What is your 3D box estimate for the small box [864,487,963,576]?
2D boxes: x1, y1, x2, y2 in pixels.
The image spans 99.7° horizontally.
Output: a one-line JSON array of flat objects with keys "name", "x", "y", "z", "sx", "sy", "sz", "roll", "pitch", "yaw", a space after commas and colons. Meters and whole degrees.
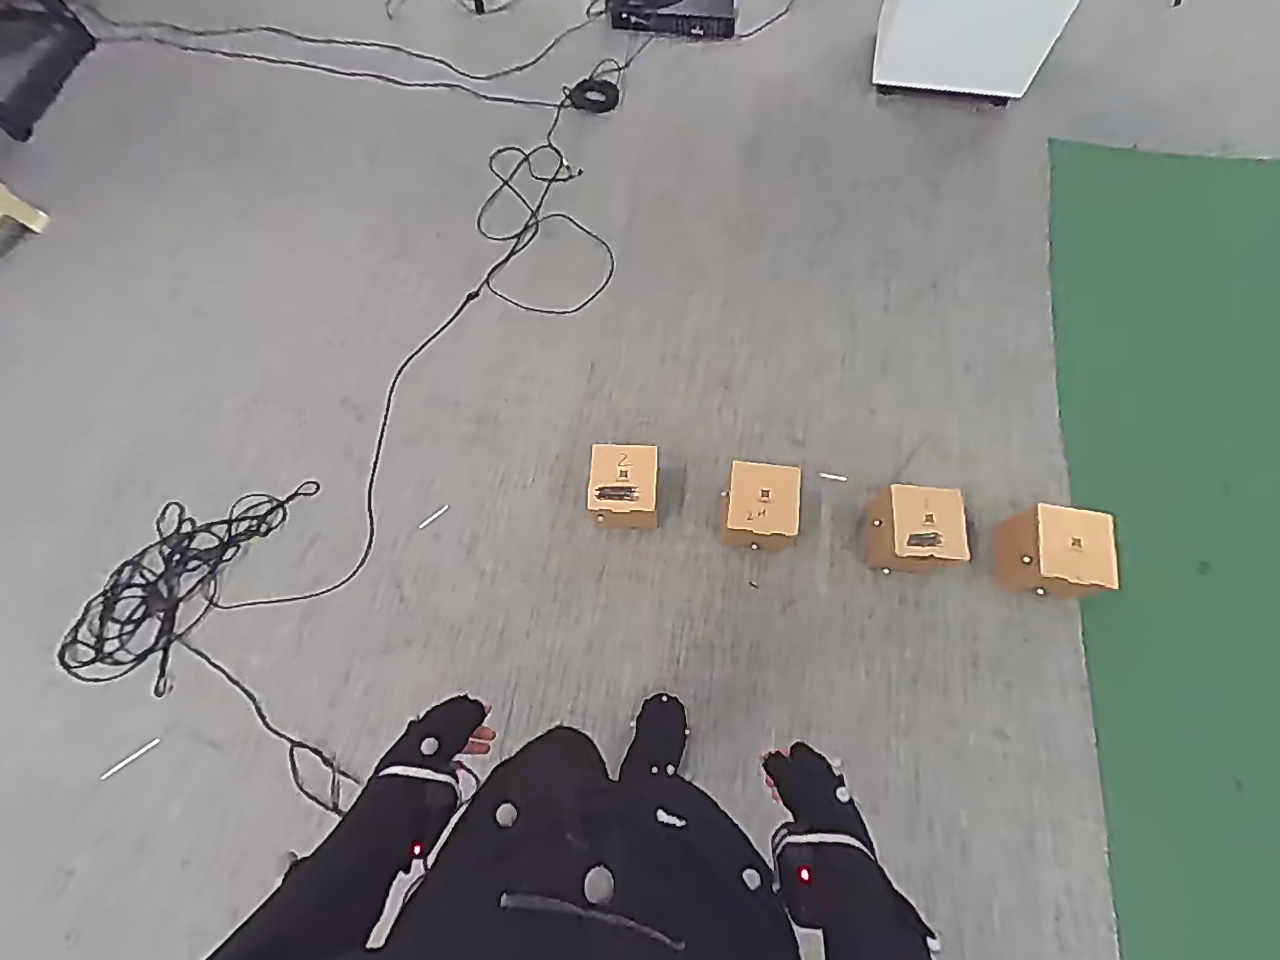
[{"name": "small box", "x": 0.667, "y": 0.133, "z": 1.339, "sx": 0.168, "sy": 0.176, "sz": 0.179, "roll": 5, "pitch": 69, "yaw": 3}]

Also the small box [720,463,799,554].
[{"name": "small box", "x": 0.298, "y": 0.075, "z": 1.370, "sx": 0.168, "sy": 0.176, "sz": 0.179, "roll": 7, "pitch": 70, "yaw": 6}]

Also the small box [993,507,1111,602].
[{"name": "small box", "x": 0.986, "y": 0.184, "z": 1.311, "sx": 0.168, "sy": 0.176, "sz": 0.179, "roll": 10, "pitch": 70, "yaw": 6}]
